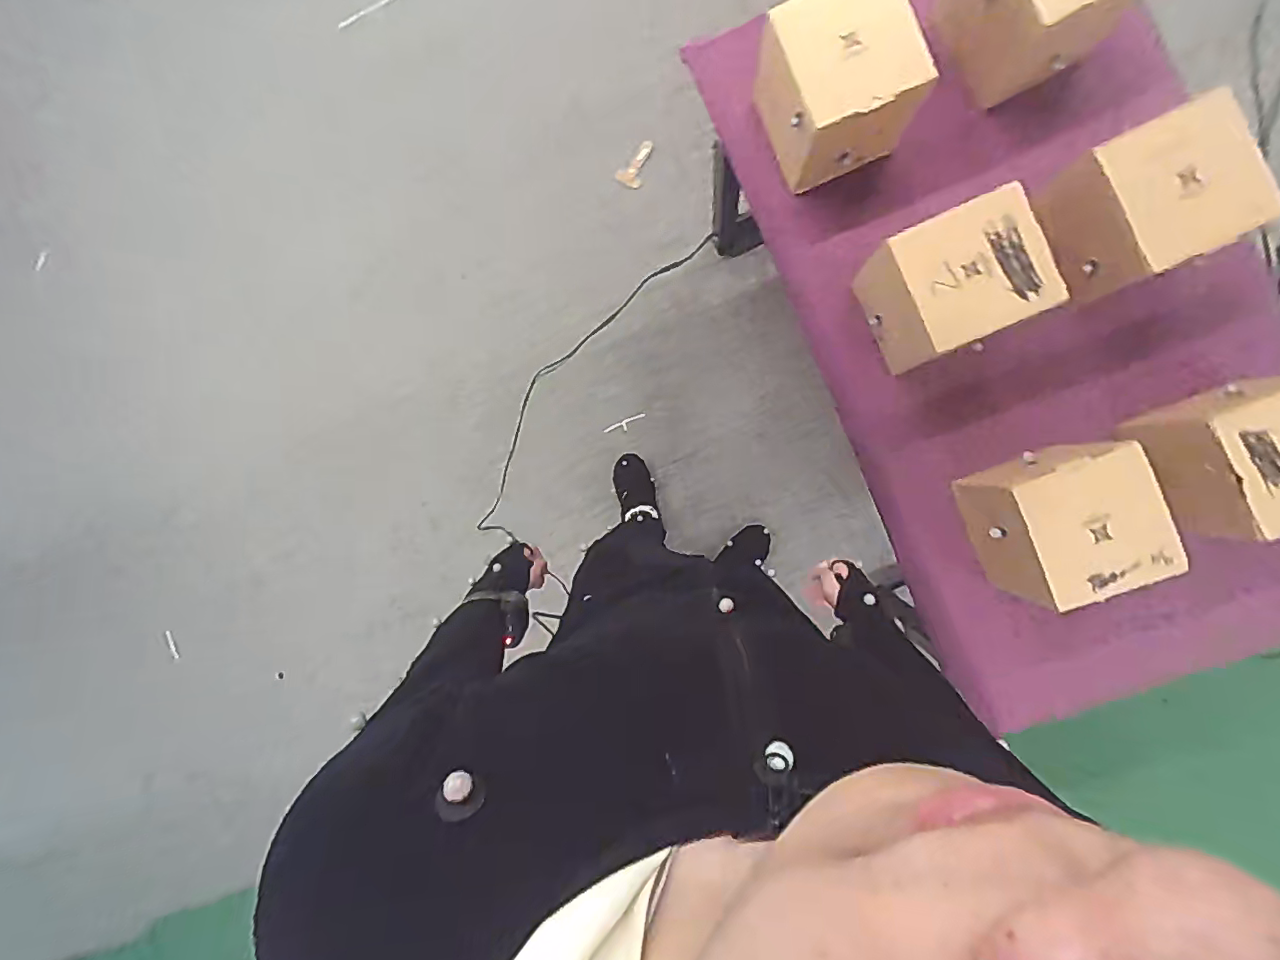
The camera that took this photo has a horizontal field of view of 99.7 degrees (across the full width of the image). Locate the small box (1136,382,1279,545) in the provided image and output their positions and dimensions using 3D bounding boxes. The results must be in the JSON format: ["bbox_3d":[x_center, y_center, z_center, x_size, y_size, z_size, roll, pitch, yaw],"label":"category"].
[{"bbox_3d":[0.816,-0.027,0.712,0.179,0.176,0.168,-22,89,7],"label":"small box"}]

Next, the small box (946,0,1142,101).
[{"bbox_3d":[0.552,-0.672,0.727,0.168,0.176,0.179,-25,89,8],"label":"small box"}]

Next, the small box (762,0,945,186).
[{"bbox_3d":[0.285,-0.564,0.765,0.168,0.176,0.179,-21,90,6],"label":"small box"}]

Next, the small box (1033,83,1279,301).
[{"bbox_3d":[0.681,-0.360,0.722,0.168,0.176,0.179,-24,88,7],"label":"small box"}]

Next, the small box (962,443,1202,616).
[{"bbox_3d":[0.584,0.063,0.744,0.168,0.176,0.179,-20,88,7],"label":"small box"}]
